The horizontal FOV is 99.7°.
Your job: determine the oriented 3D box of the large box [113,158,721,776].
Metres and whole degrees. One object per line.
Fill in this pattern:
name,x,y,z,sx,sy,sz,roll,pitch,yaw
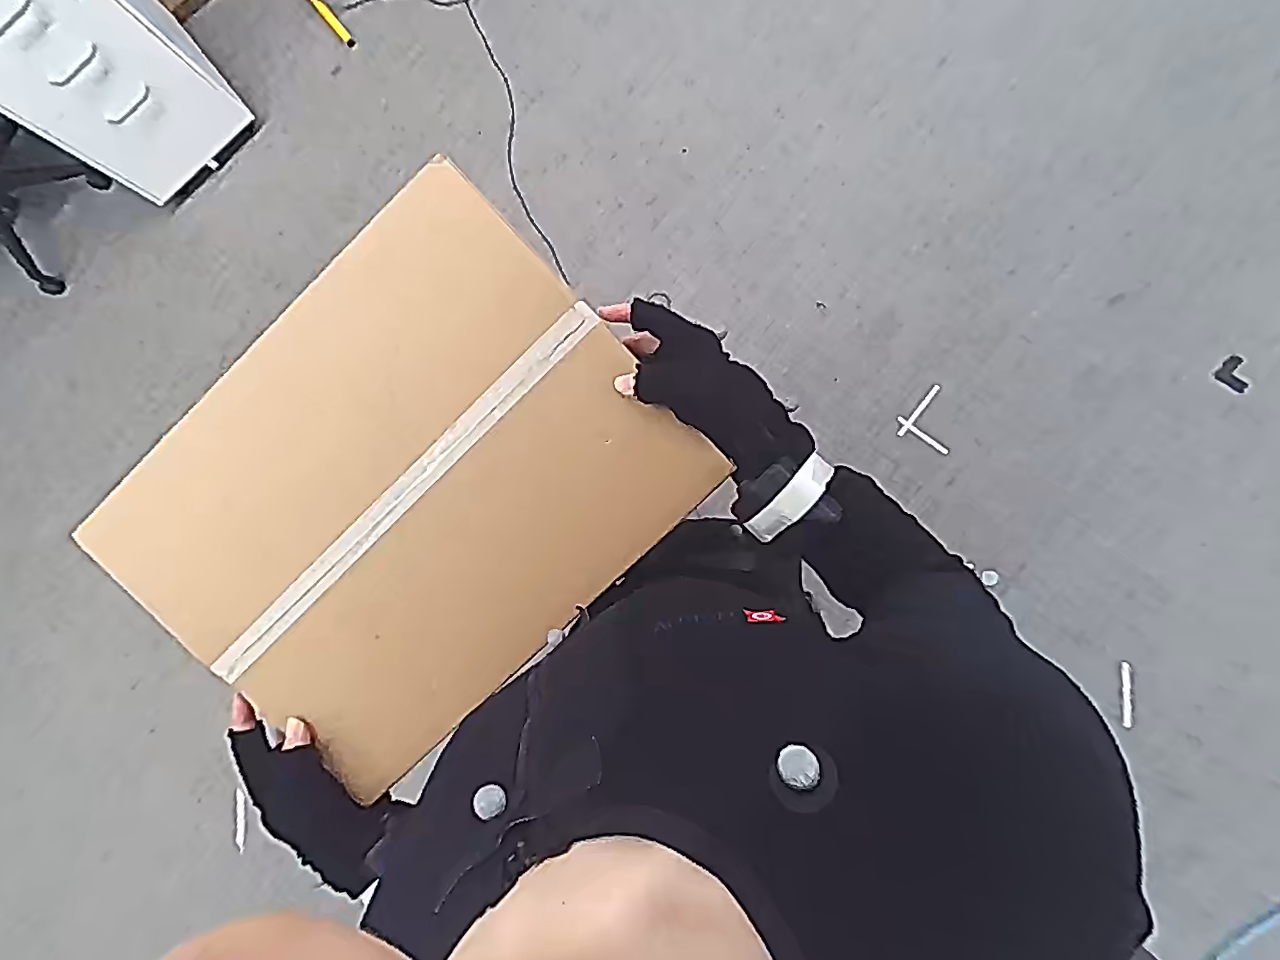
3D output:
large box,-0.177,-0.009,0.571,0.408,0.320,0.320,-43,95,5
